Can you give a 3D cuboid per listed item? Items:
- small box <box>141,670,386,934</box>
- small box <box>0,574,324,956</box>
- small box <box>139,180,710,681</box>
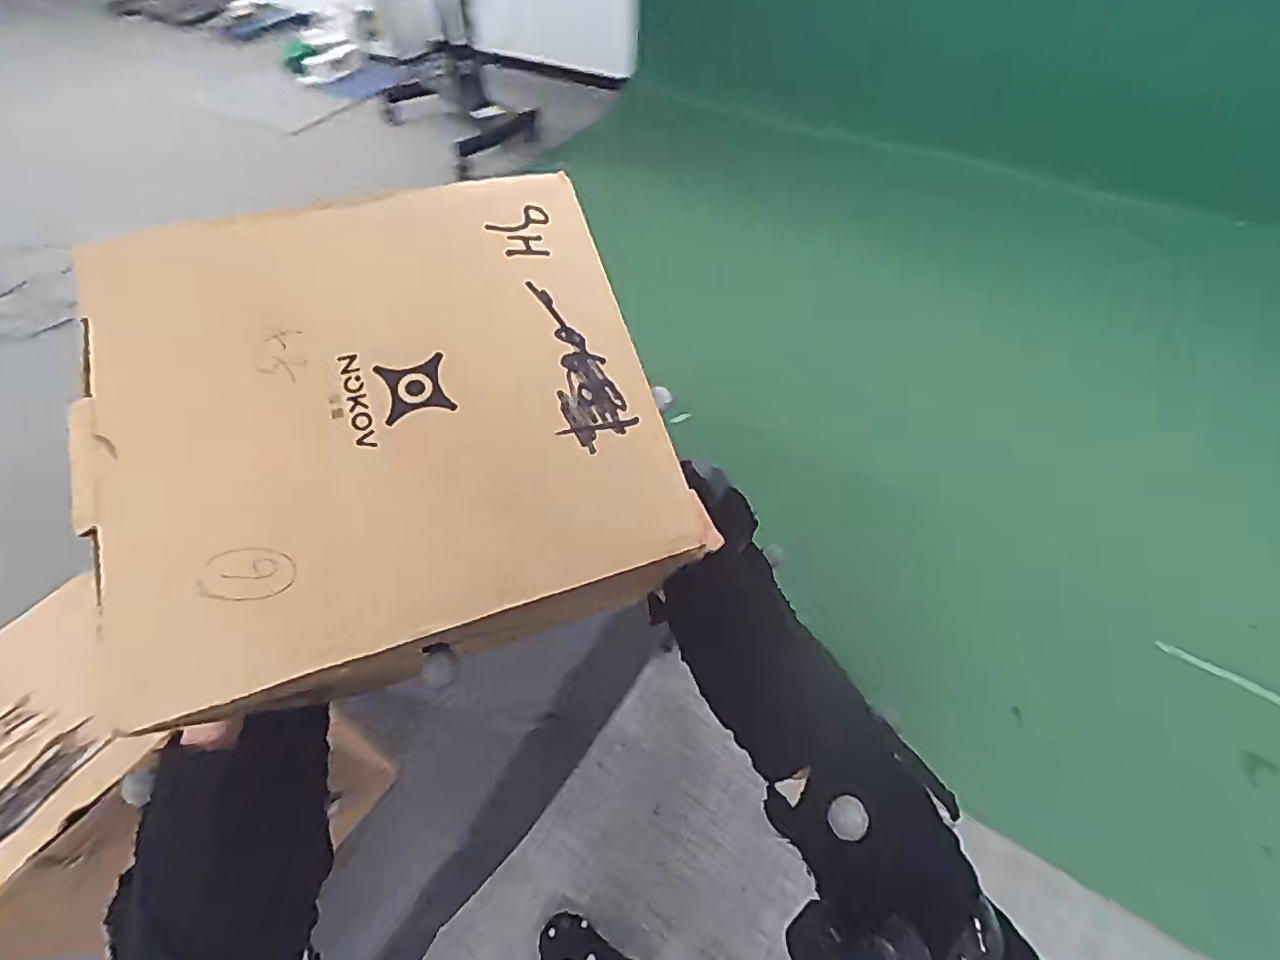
[{"bbox_3d":[-0.390,0.304,0.549,0.168,0.176,0.179,27,60,22],"label":"small box"},{"bbox_3d":[-0.393,0.209,0.415,0.179,0.176,0.168,25,58,19],"label":"small box"},{"bbox_3d":[-0.089,-0.008,0.273,0.179,0.176,0.168,-18,73,-13],"label":"small box"}]
